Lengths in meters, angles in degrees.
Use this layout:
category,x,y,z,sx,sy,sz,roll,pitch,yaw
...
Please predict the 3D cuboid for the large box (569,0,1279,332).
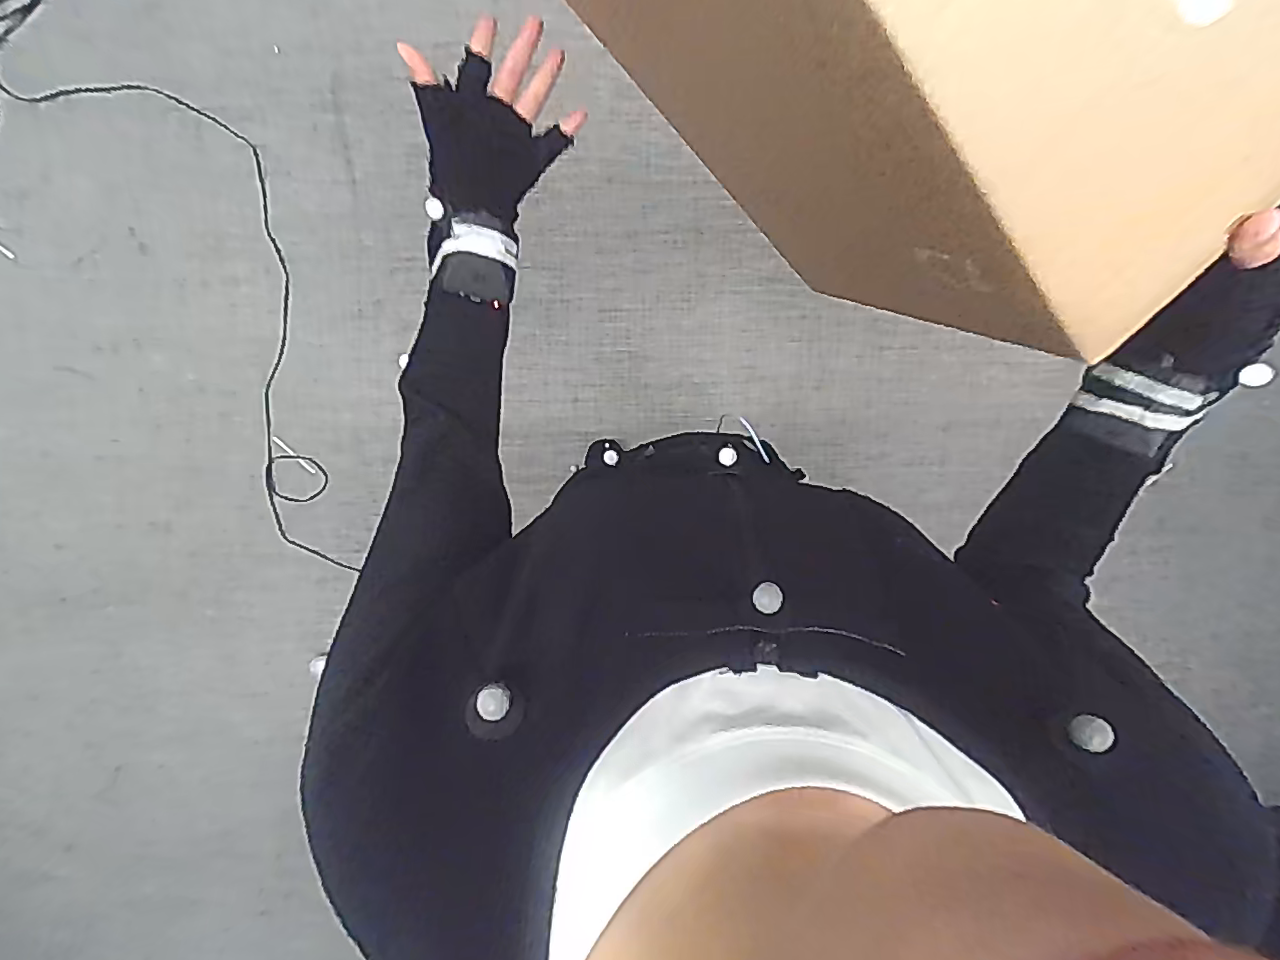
category,x,y,z,sx,sy,sz,roll,pitch,yaw
large box,0.166,-0.355,0.310,0.408,0.320,0.320,36,104,-26
